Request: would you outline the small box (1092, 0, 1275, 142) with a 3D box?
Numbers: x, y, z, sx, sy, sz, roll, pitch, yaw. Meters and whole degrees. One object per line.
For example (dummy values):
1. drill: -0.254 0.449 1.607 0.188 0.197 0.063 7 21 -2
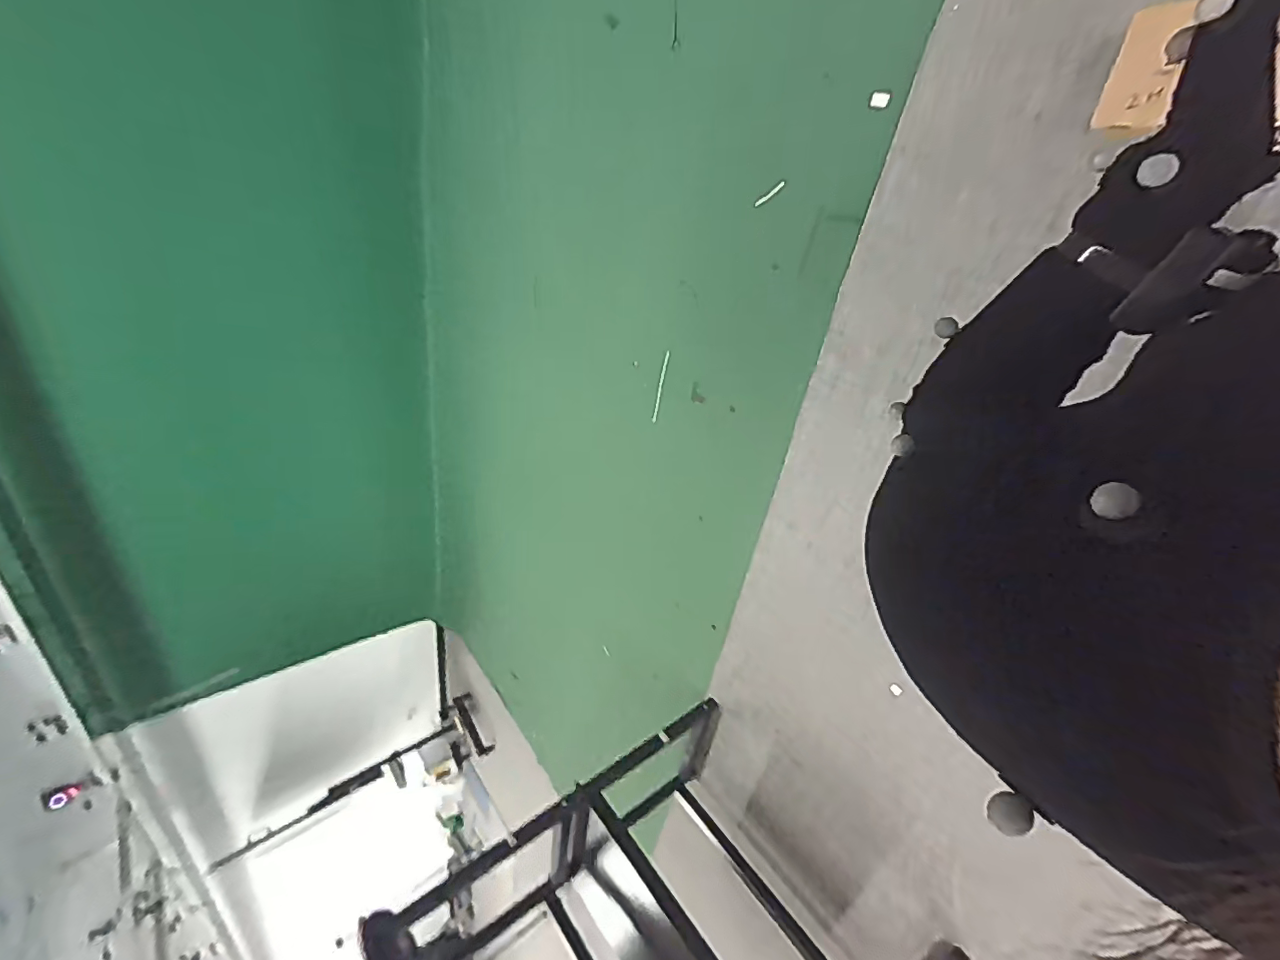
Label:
1. small box: 0.938 -0.707 0.939 0.168 0.176 0.179 33 126 40
